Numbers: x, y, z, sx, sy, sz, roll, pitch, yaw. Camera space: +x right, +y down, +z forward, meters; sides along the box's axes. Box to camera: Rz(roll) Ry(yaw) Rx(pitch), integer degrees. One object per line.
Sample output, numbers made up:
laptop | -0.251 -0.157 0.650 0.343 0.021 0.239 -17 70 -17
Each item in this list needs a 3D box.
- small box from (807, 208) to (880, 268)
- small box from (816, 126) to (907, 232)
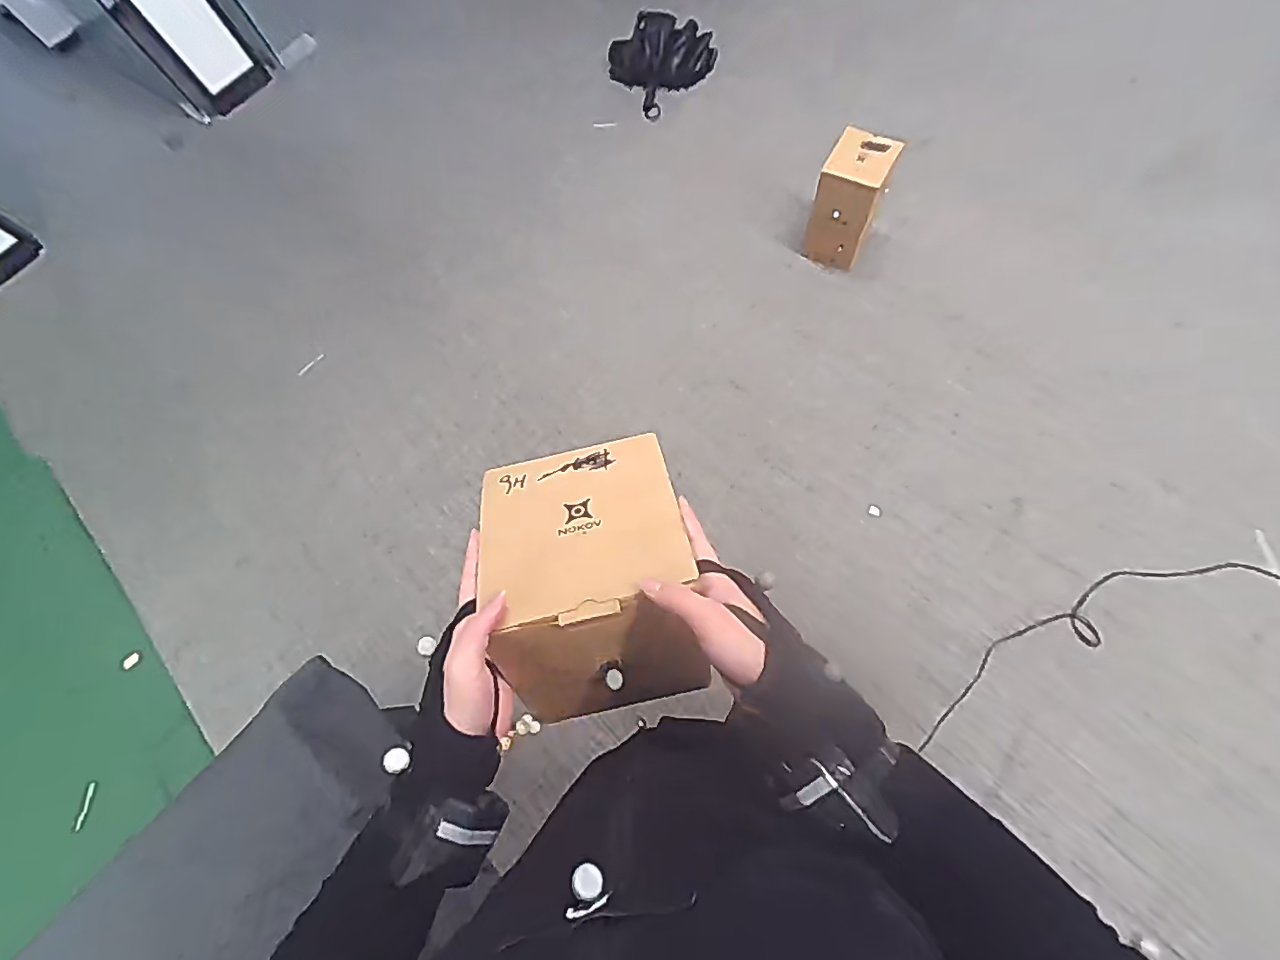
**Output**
small box | 0.636 -0.797 1.684 0.168 0.176 0.179 27 75 16
small box | 0.616 -0.846 1.528 0.168 0.176 0.179 28 78 16
